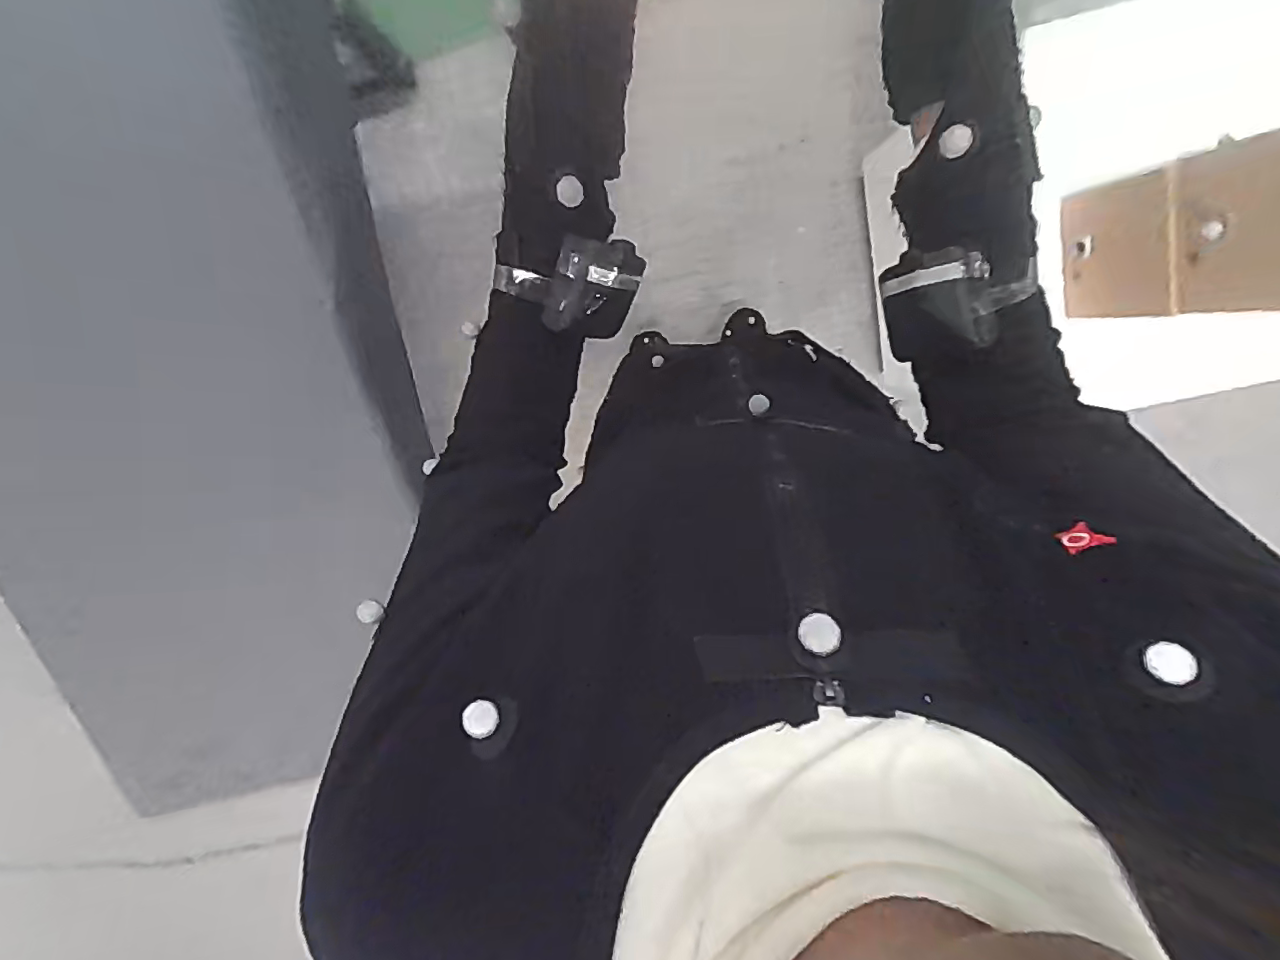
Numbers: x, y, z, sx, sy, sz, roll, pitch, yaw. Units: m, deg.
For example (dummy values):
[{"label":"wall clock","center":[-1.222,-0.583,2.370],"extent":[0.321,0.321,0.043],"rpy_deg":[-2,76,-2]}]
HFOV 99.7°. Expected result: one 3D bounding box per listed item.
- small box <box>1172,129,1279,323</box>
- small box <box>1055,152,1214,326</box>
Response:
[{"label":"small box","center":[0.645,-0.248,0.484],"extent":[0.179,0.176,0.168],"rpy_deg":[-18,104,5]},{"label":"small box","center":[0.646,-0.289,0.643],"extent":[0.179,0.176,0.168],"rpy_deg":[-15,104,7]}]
